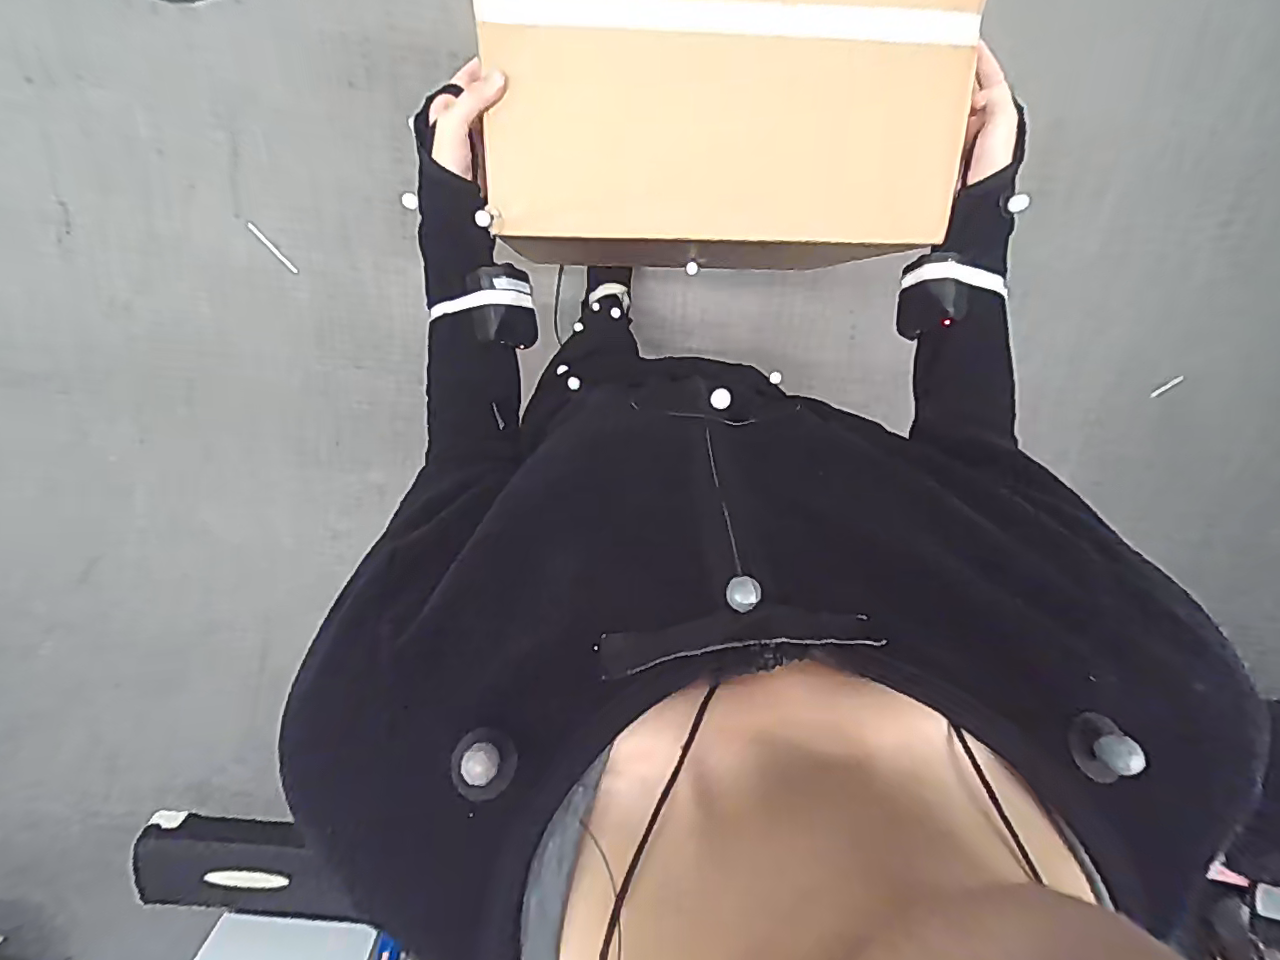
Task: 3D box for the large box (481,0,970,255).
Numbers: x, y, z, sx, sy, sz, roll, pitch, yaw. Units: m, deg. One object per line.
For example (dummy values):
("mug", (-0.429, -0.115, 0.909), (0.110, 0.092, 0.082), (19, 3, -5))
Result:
("large box", (0.064, -0.417, 0.580), (0.408, 0.320, 0.320), (-1, 107, -4))
